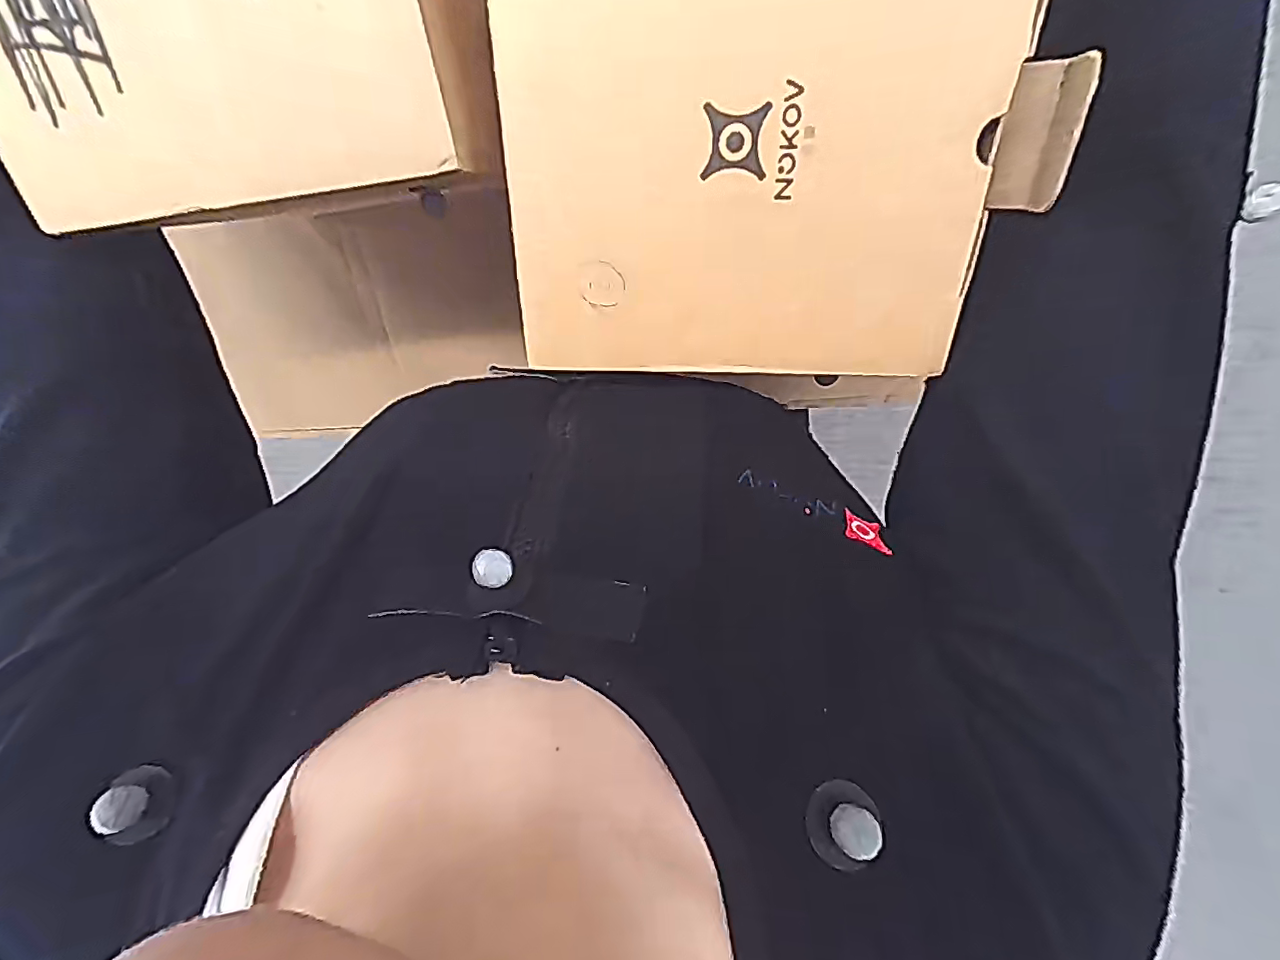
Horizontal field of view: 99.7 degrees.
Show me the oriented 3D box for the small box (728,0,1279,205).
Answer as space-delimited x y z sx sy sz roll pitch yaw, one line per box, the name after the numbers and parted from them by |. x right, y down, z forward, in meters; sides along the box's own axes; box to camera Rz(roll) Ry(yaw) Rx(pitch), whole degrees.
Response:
0.140 -0.219 0.200 0.179 0.176 0.168 12 126 -3 | small box
